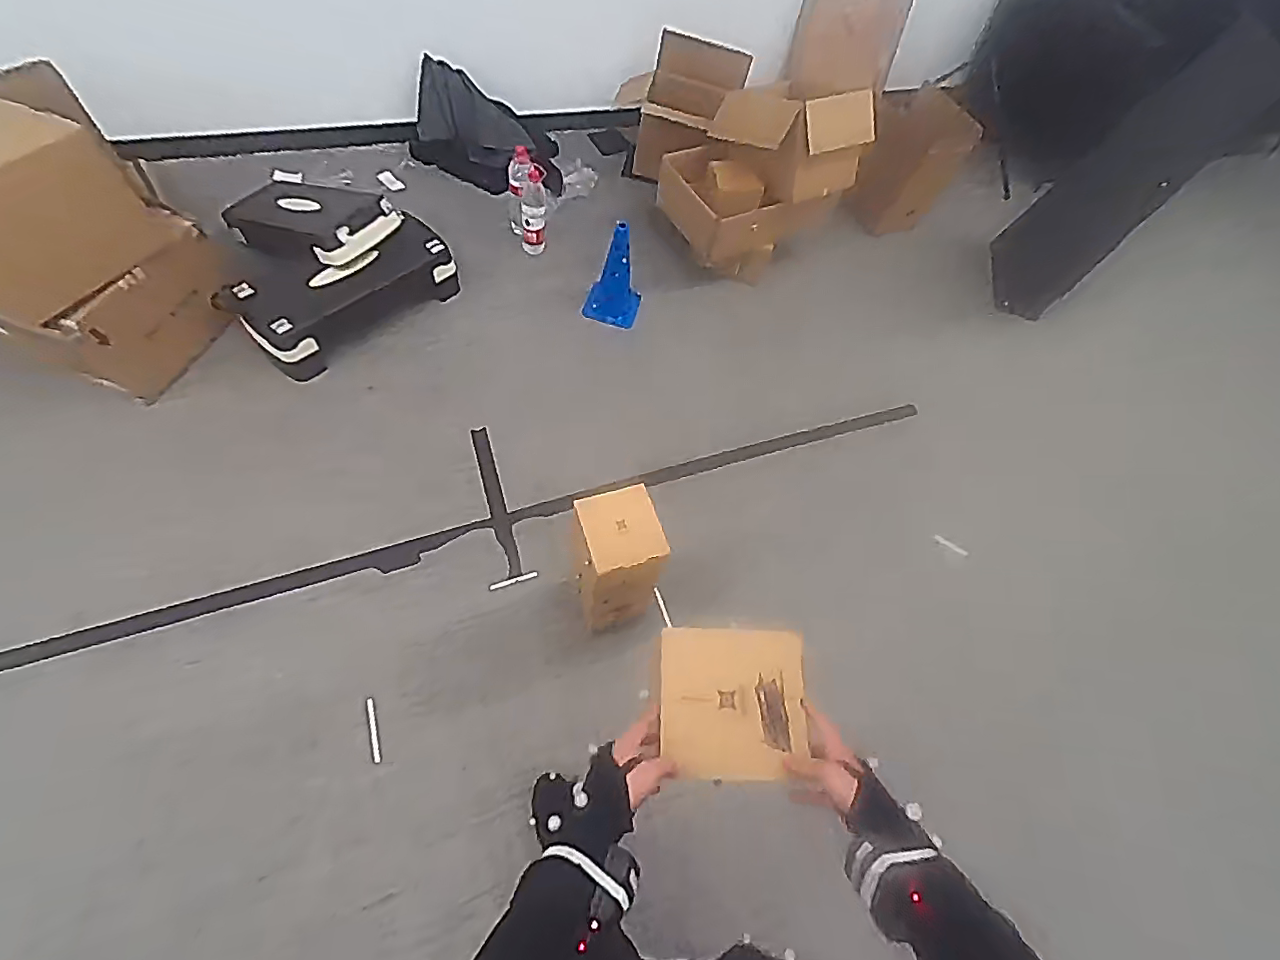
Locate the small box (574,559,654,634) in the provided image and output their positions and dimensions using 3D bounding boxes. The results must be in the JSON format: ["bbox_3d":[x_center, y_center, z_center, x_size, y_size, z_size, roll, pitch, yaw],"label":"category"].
[{"bbox_3d":[-0.081,0.304,1.501,0.168,0.176,0.179,-18,67,-17],"label":"small box"}]

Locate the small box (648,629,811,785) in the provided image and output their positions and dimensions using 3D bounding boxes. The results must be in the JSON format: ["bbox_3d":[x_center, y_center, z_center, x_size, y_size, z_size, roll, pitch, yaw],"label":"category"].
[{"bbox_3d":[0.105,0.291,0.707,0.179,0.176,0.168,2,67,-2],"label":"small box"}]

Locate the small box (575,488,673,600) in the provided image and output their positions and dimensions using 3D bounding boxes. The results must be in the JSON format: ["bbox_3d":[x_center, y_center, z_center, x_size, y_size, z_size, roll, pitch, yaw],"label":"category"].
[{"bbox_3d":[-0.045,0.146,1.216,0.168,0.176,0.179,-14,65,-16],"label":"small box"}]
